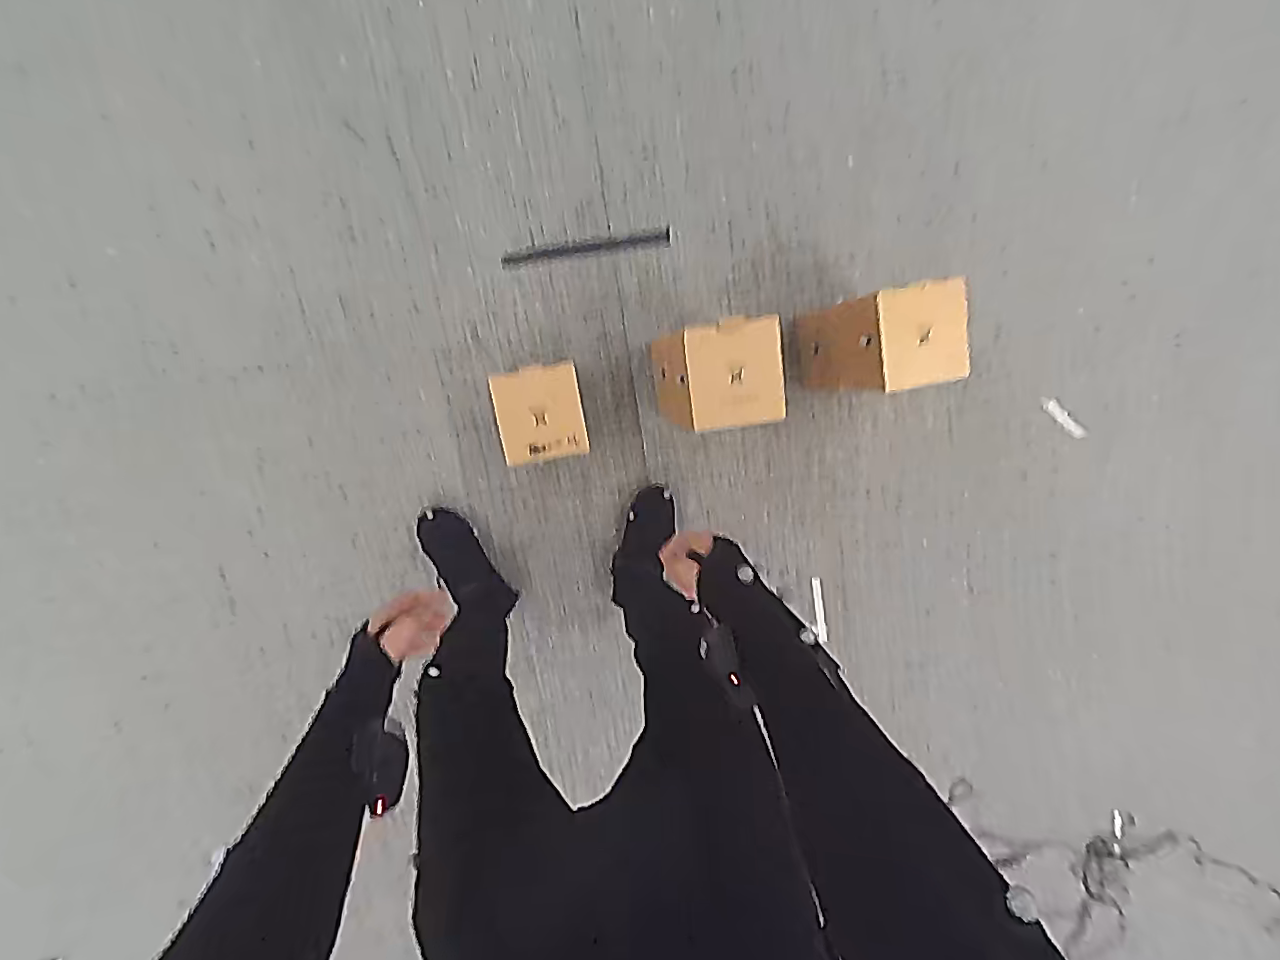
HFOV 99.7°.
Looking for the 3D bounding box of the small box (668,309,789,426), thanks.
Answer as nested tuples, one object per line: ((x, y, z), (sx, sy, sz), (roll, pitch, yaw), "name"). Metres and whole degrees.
((0.151, -0.198, 0.967), (0.168, 0.176, 0.179), (-9, 102, -6), "small box")

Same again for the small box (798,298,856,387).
((0.457, -0.302, 1.162), (0.168, 0.176, 0.179), (-13, 102, -6), "small box")

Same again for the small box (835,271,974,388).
((0.484, -0.273, 1.005), (0.168, 0.176, 0.179), (-12, 101, -6), "small box")

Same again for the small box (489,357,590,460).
((-0.200, -0.147, 1.096), (0.168, 0.176, 0.179), (-10, 101, -6), "small box")

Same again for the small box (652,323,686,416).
((0.125, -0.234, 1.126), (0.168, 0.176, 0.179), (-9, 102, -6), "small box")
